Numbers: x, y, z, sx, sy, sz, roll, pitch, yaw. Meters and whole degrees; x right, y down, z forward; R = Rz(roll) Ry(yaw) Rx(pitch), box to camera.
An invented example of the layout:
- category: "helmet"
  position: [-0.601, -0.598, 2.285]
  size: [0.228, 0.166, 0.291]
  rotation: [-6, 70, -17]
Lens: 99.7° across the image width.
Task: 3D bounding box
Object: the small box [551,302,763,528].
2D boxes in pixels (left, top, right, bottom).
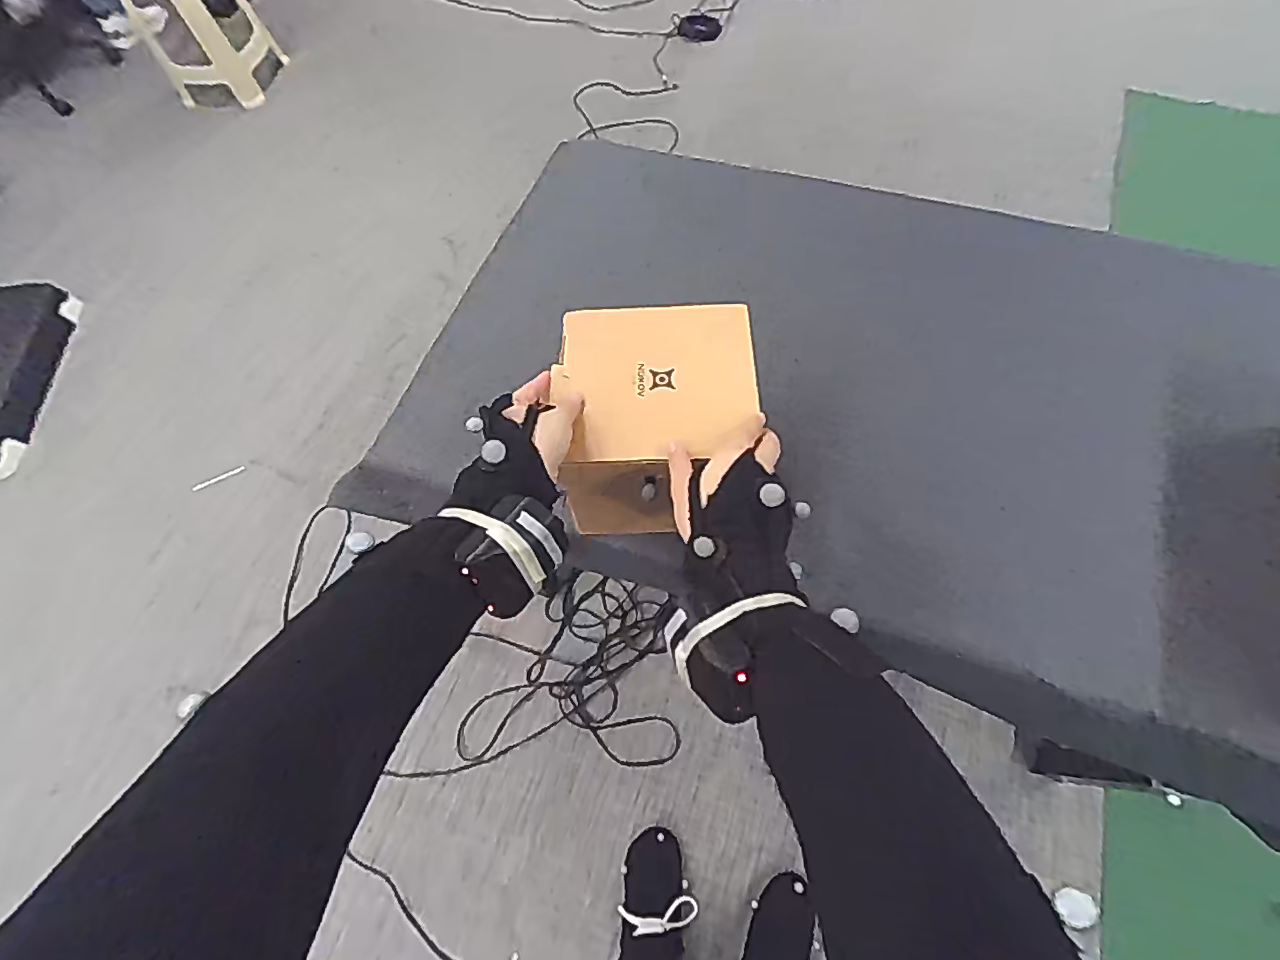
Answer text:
- category: "small box"
  position: [0.017, -0.056, 0.545]
  size: [0.179, 0.176, 0.168]
  rotation: [-1, 64, 3]
